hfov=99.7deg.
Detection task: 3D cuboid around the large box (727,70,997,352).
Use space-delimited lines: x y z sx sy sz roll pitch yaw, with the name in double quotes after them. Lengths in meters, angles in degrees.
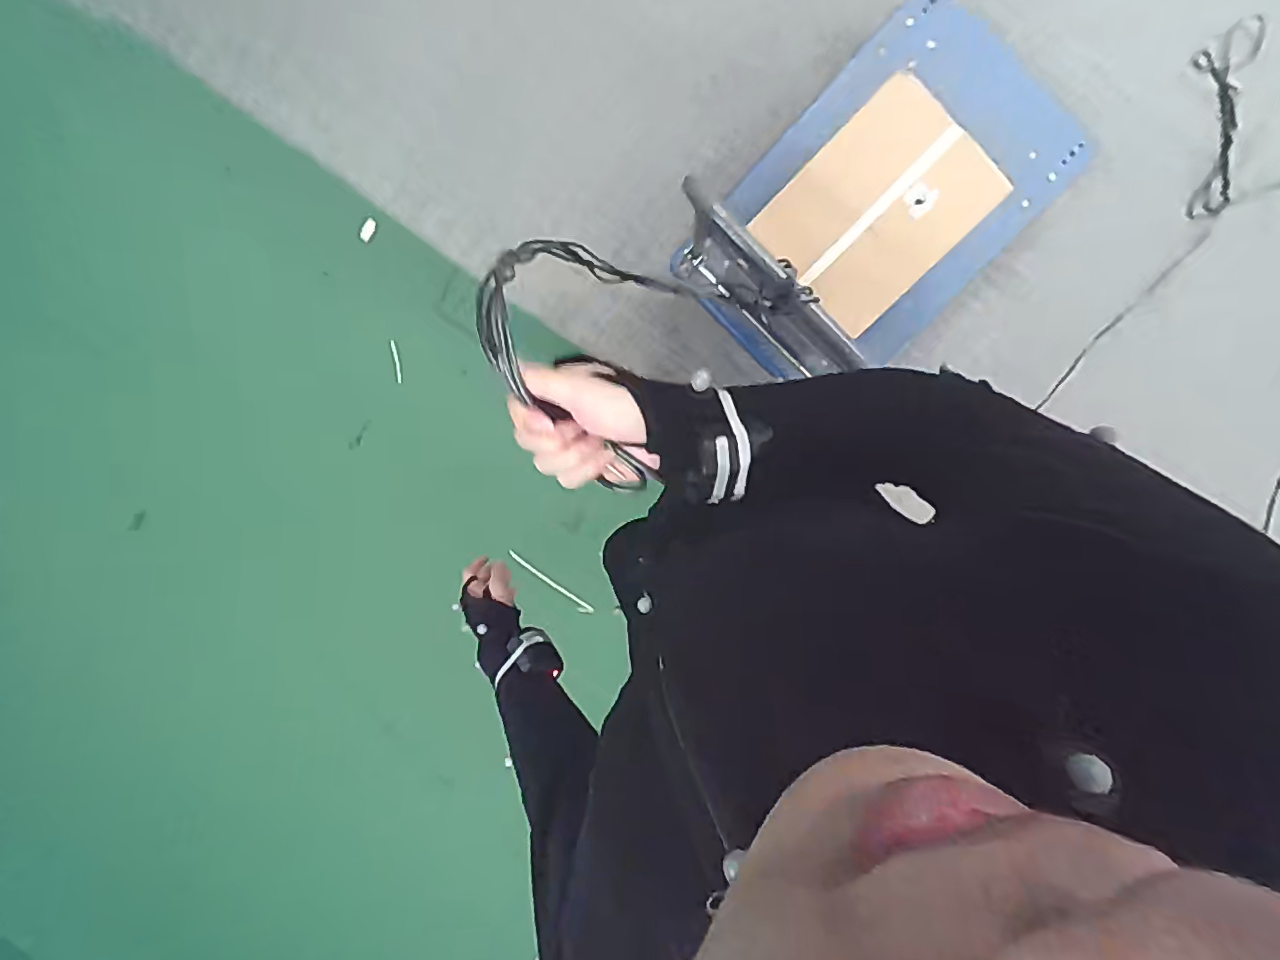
0.449 -0.548 1.199 0.320 0.320 0.408 45 98 -4 "large box"
